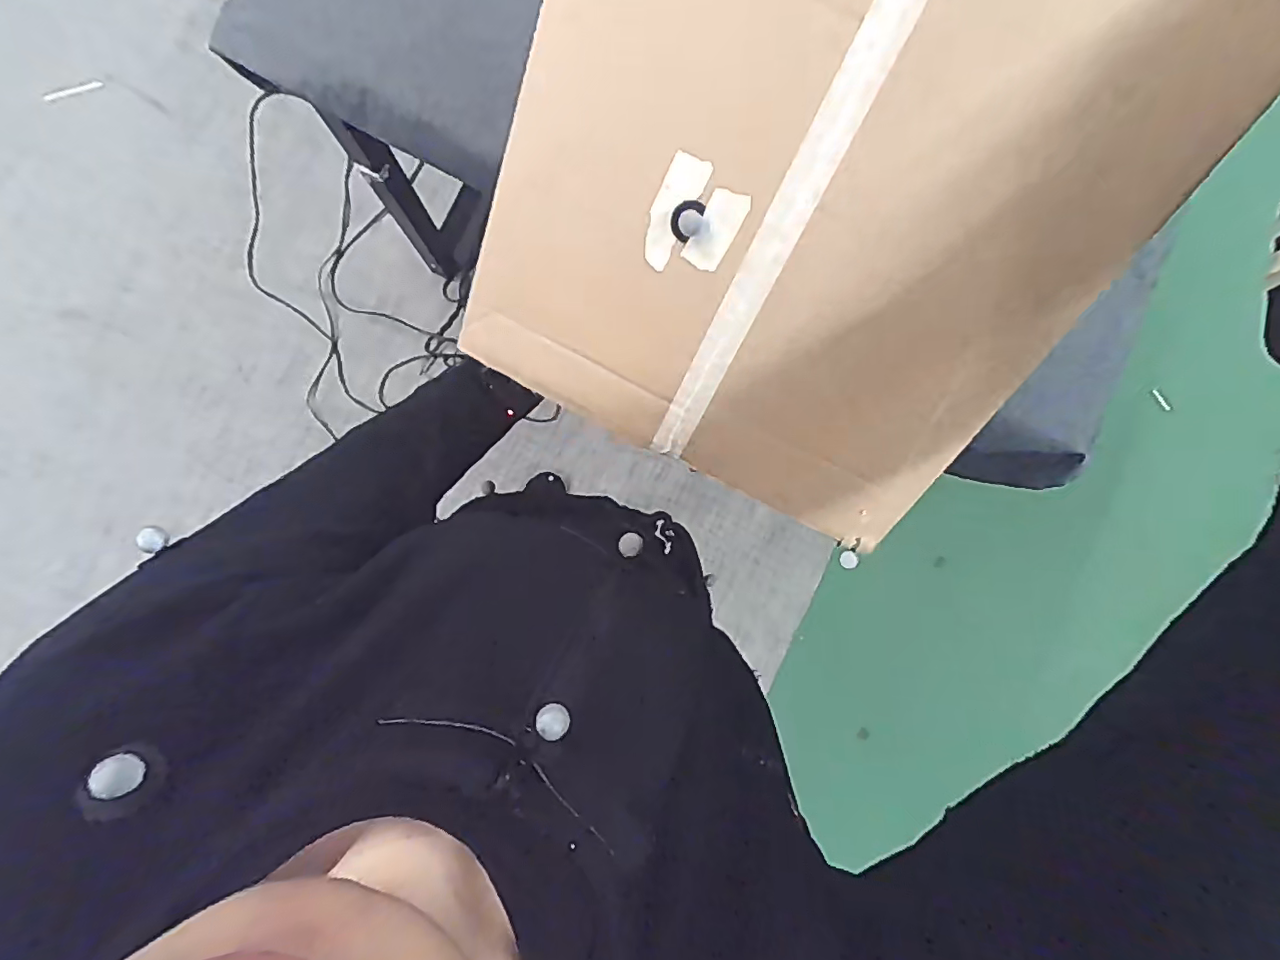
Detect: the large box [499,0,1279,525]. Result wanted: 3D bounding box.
[{"bbox_3d":[0.139,-0.254,0.403,0.320,0.320,0.408,26,122,-1],"label":"large box"}]
